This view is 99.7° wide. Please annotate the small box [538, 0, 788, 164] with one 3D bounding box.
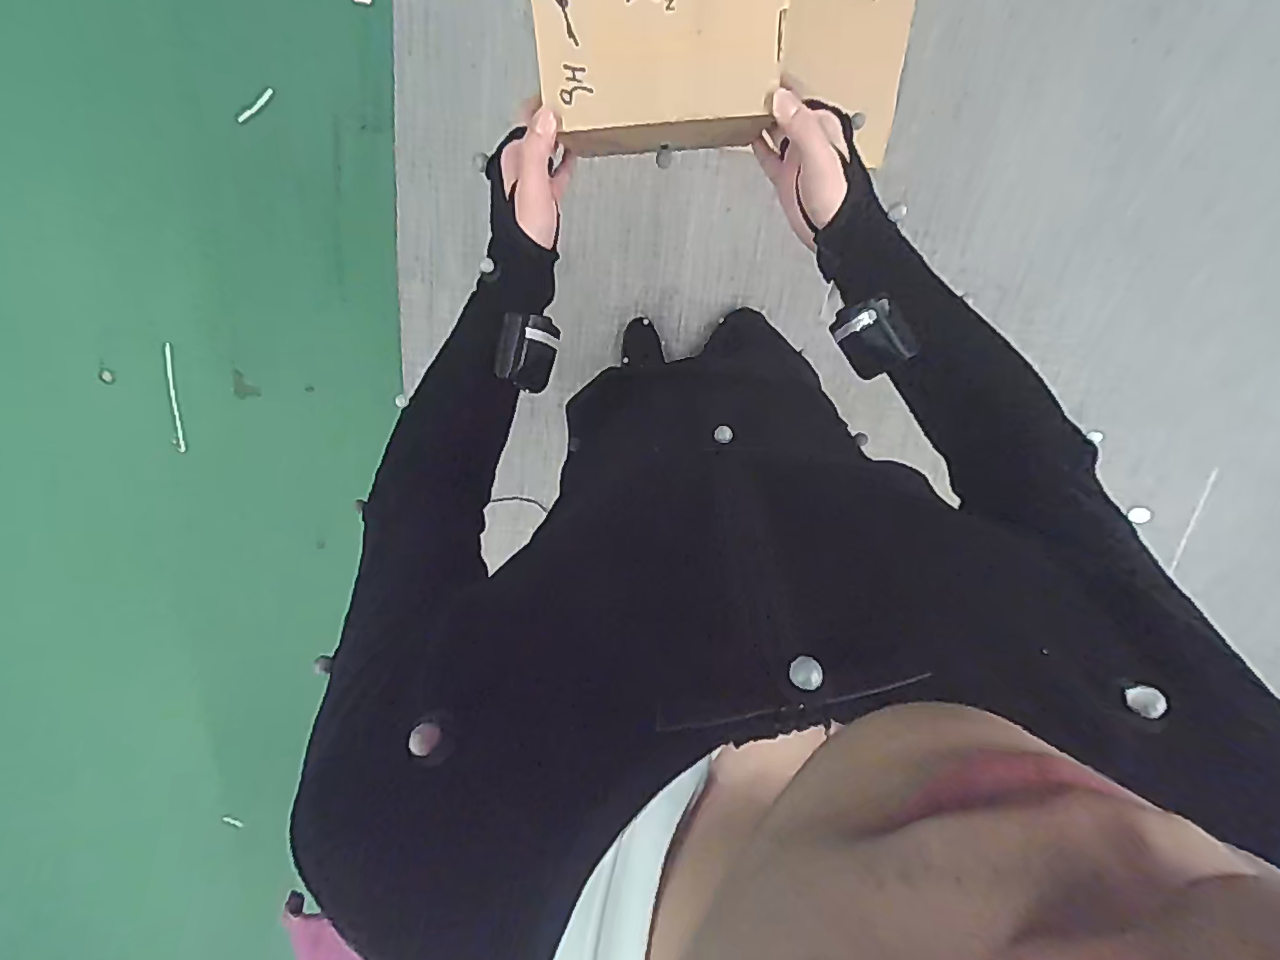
[{"bbox_3d":[0.017,-0.368,0.444,0.179,0.176,0.168,-2,113,3],"label":"small box"}]
